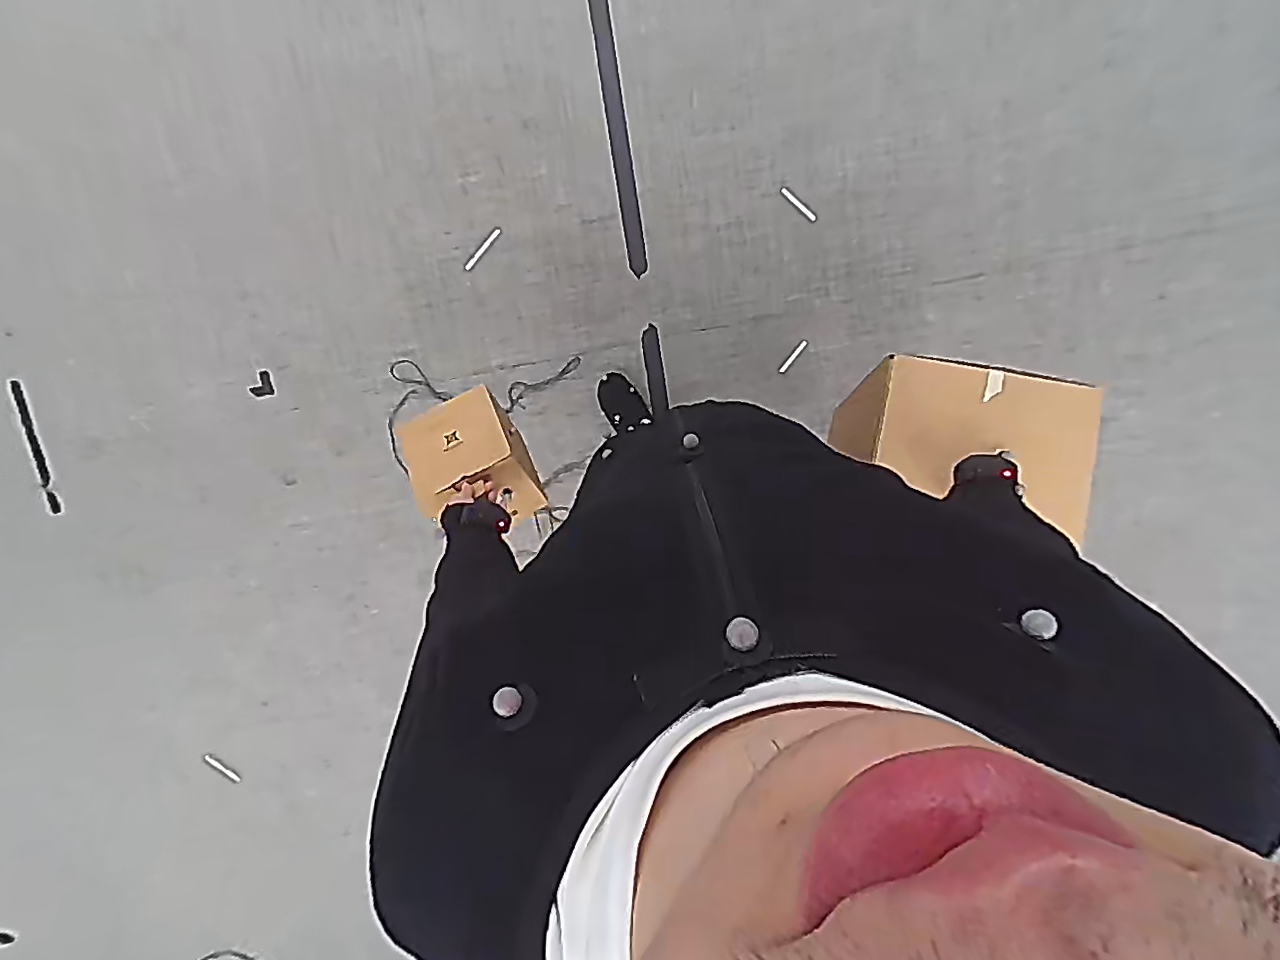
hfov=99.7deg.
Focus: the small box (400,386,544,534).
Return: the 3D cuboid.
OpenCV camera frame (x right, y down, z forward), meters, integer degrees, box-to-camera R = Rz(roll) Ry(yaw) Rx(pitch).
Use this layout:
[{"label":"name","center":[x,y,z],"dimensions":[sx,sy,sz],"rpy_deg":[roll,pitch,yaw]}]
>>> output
[{"label":"small box","center":[-0.289,-0.024,0.953],"dimensions":[0.168,0.176,0.179],"rpy_deg":[-27,58,-4]}]
